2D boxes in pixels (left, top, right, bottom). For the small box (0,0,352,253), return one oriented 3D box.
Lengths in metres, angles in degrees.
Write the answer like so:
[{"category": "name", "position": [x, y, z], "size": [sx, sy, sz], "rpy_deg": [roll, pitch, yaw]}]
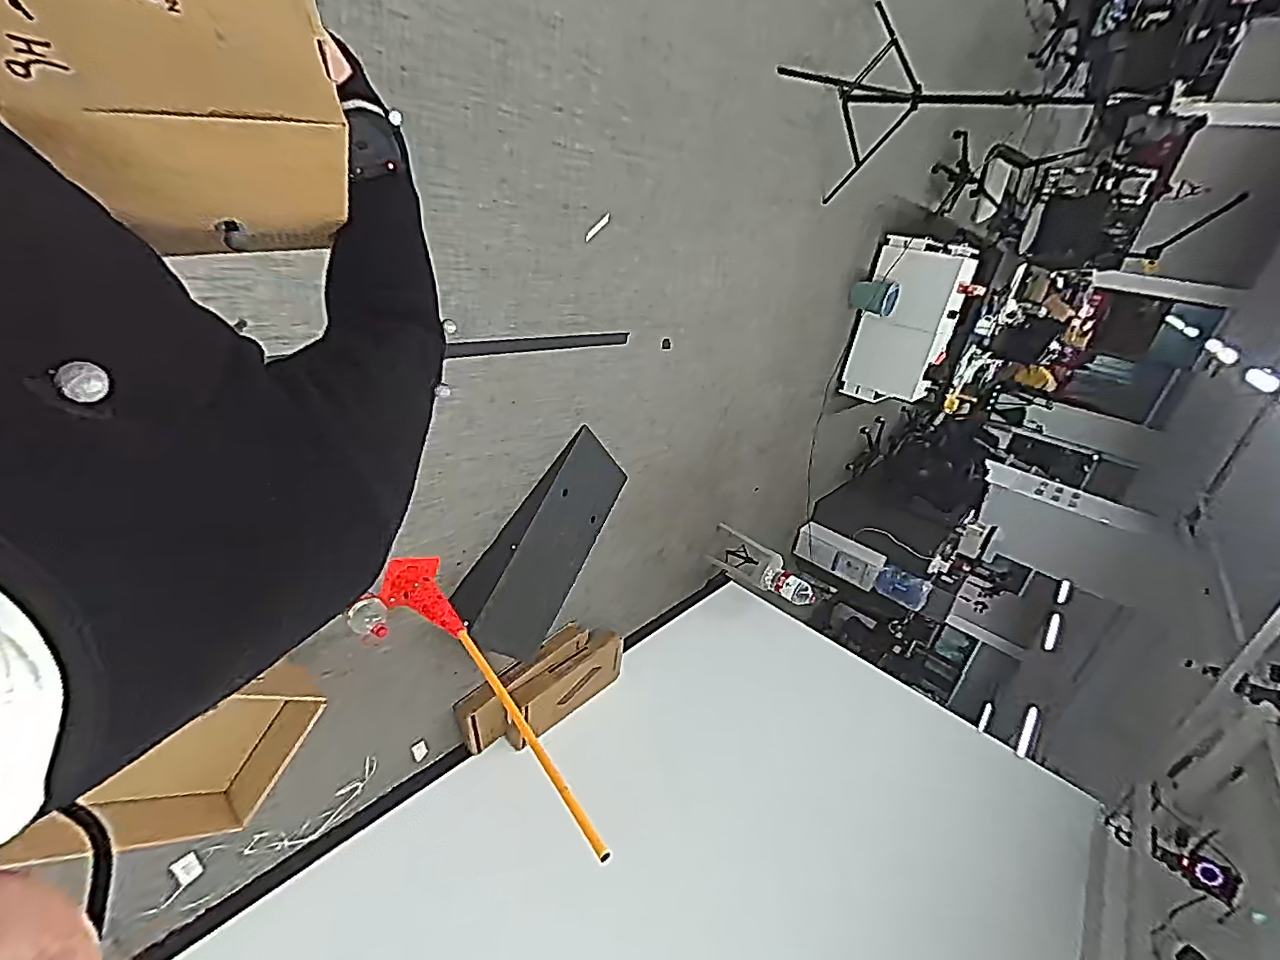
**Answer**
[{"category": "small box", "position": [-0.338, -0.290, 0.409], "size": [0.179, 0.176, 0.168], "rpy_deg": [-17, 90, -30]}]
